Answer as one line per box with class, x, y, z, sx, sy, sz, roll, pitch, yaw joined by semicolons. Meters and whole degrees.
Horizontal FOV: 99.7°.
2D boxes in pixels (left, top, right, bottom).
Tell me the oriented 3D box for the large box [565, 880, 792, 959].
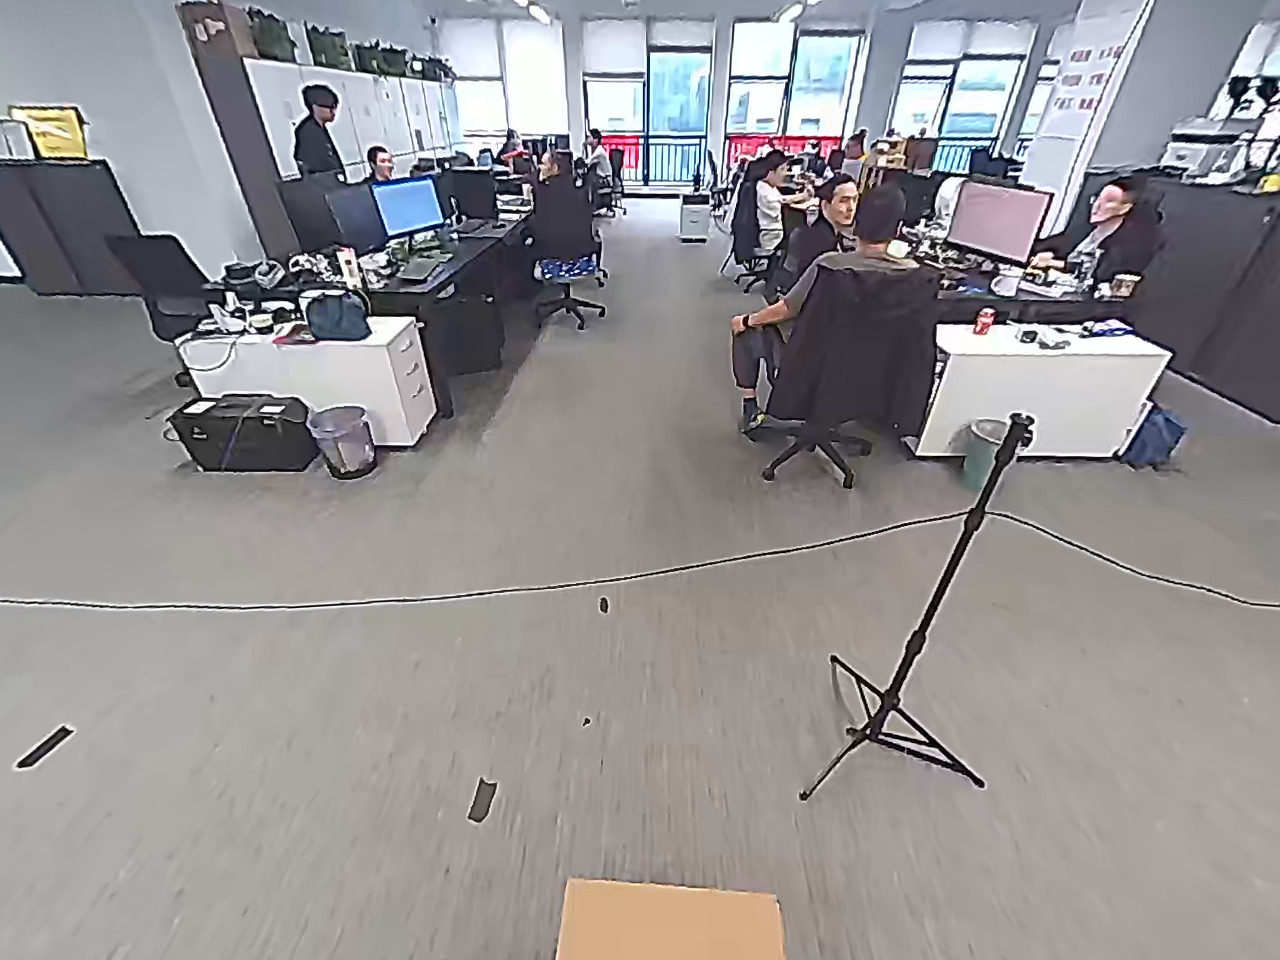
large box;0.061;0.989;0.991;0.408;0.320;0.320;3;35;3
